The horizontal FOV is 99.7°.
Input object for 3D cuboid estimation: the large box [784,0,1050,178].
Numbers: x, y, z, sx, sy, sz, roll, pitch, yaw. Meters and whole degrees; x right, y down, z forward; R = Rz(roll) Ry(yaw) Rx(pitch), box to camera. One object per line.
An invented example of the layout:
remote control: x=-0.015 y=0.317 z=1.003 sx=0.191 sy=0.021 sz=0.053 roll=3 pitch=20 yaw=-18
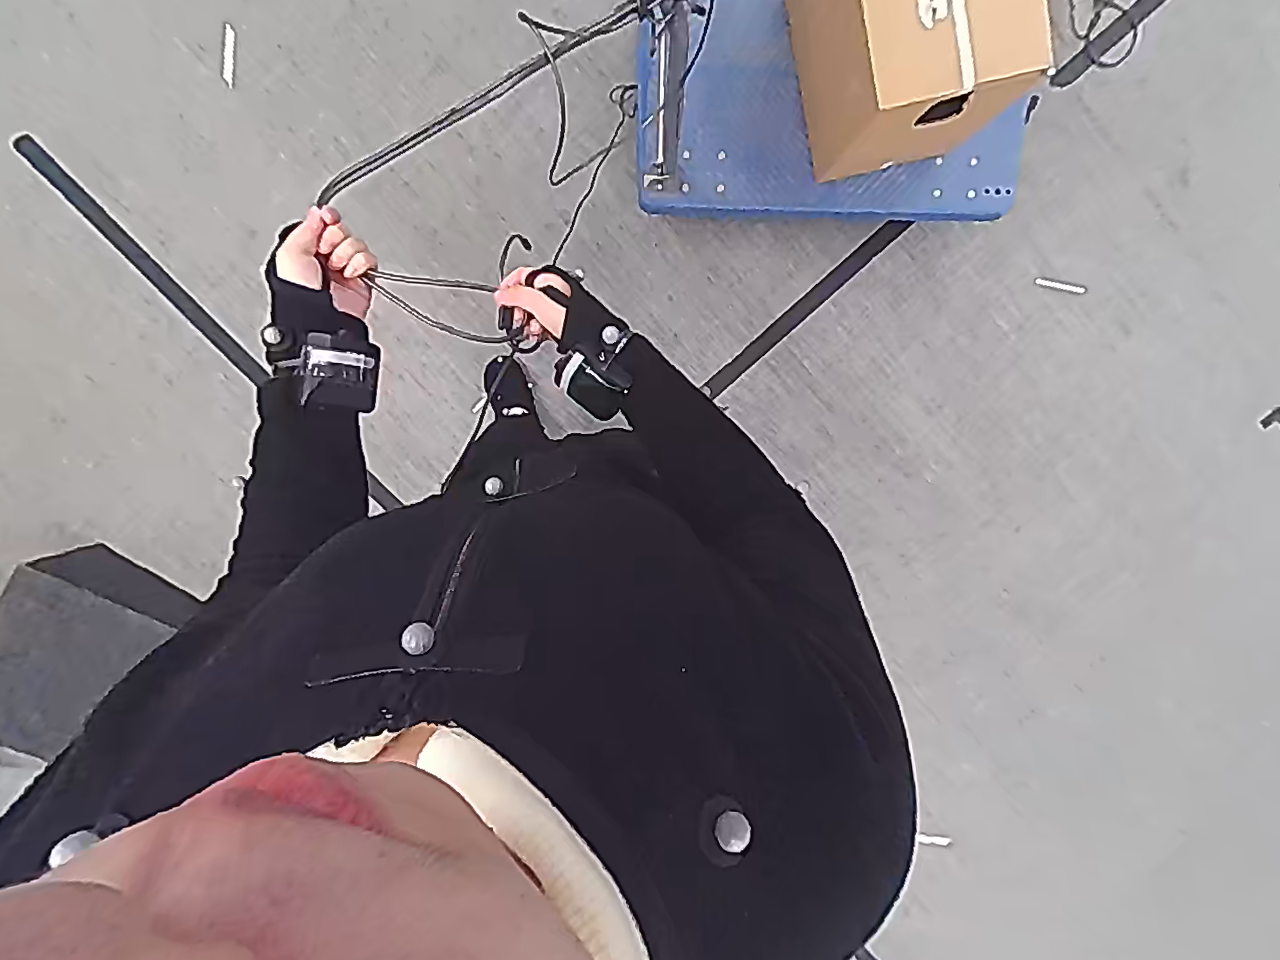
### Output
large box: x=0.506 y=-0.883 z=1.048 sx=0.320 sy=0.320 sz=0.408 roll=-13 pitch=99 yaw=1
